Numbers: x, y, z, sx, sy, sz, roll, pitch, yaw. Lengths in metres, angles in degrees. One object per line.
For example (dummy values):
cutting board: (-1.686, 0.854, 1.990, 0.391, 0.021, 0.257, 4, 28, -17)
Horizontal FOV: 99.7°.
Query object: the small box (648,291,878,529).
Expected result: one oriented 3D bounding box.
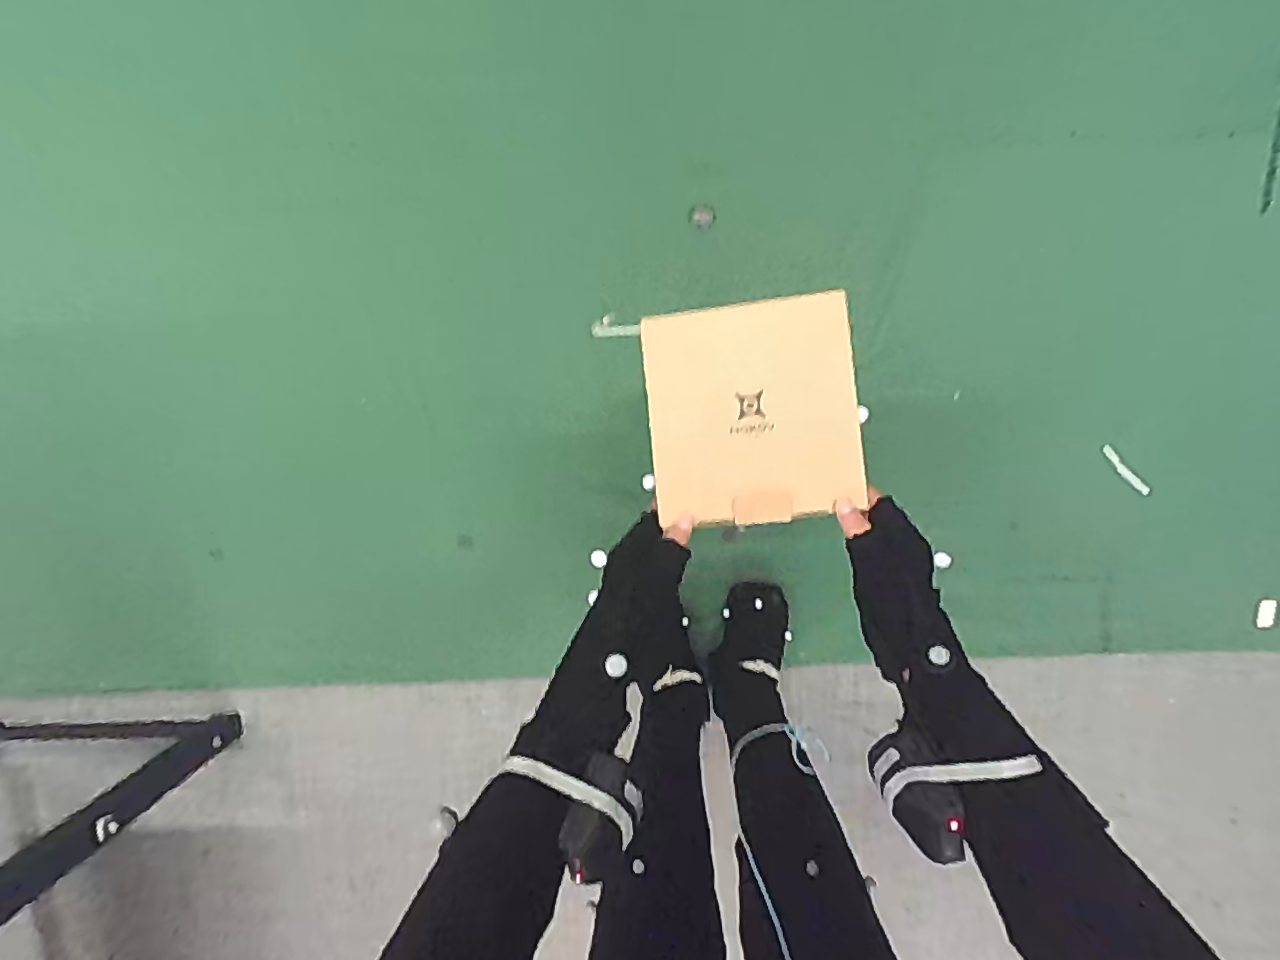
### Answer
small box: (0.103, -0.051, 0.506, 0.168, 0.176, 0.179, -7, 88, 7)
